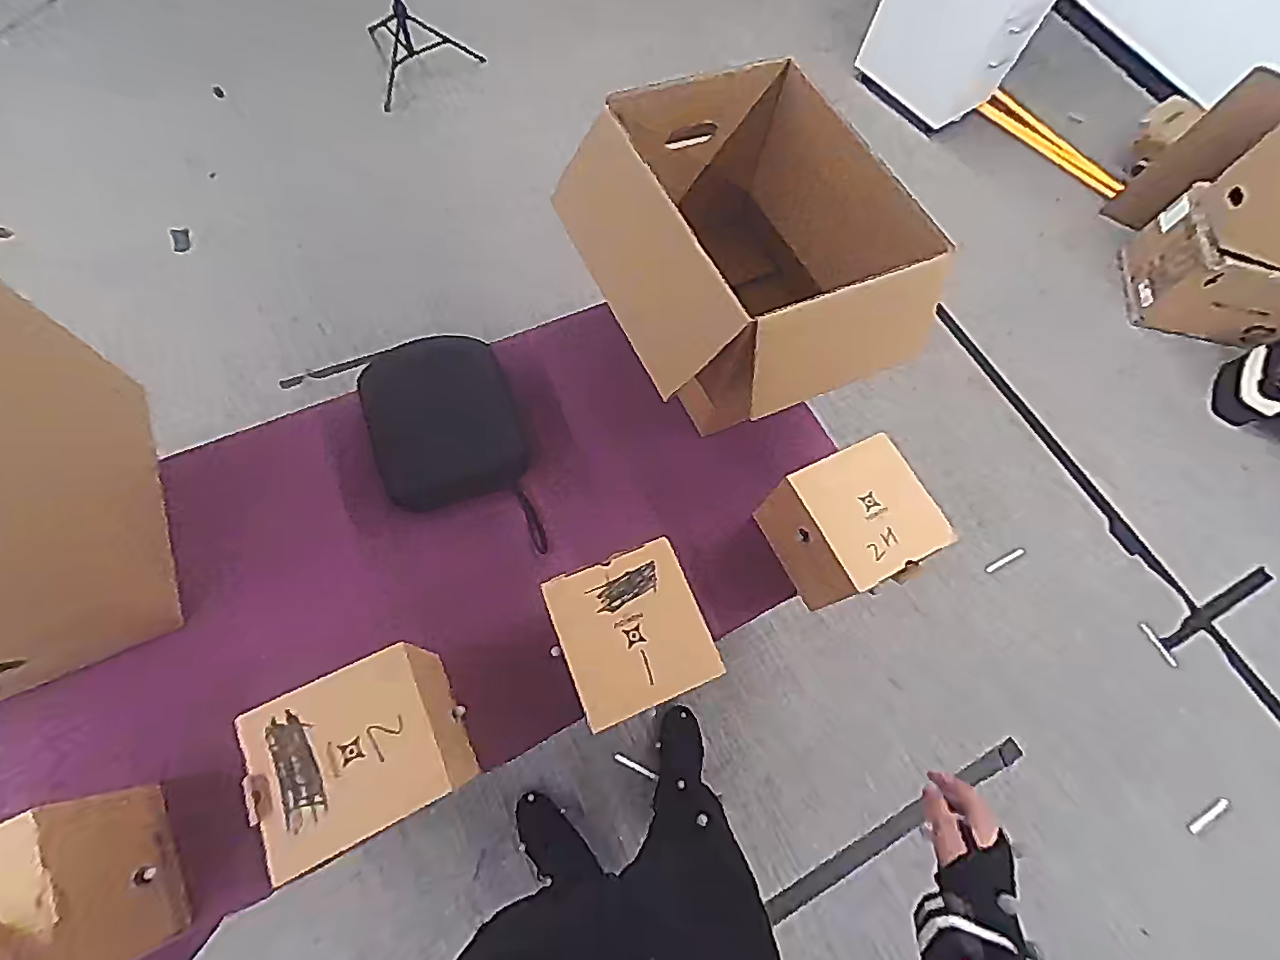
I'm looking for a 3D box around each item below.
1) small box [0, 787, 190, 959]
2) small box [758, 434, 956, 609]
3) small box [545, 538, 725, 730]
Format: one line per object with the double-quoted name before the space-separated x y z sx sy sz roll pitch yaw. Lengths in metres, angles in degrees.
"small box" -0.615 0.442 0.543 0.179 0.176 0.168 -25 72 -16
"small box" 0.296 0.066 0.783 0.168 0.176 0.179 -24 72 -13
"small box" -0.016 0.201 0.700 0.168 0.176 0.179 -20 72 -12
